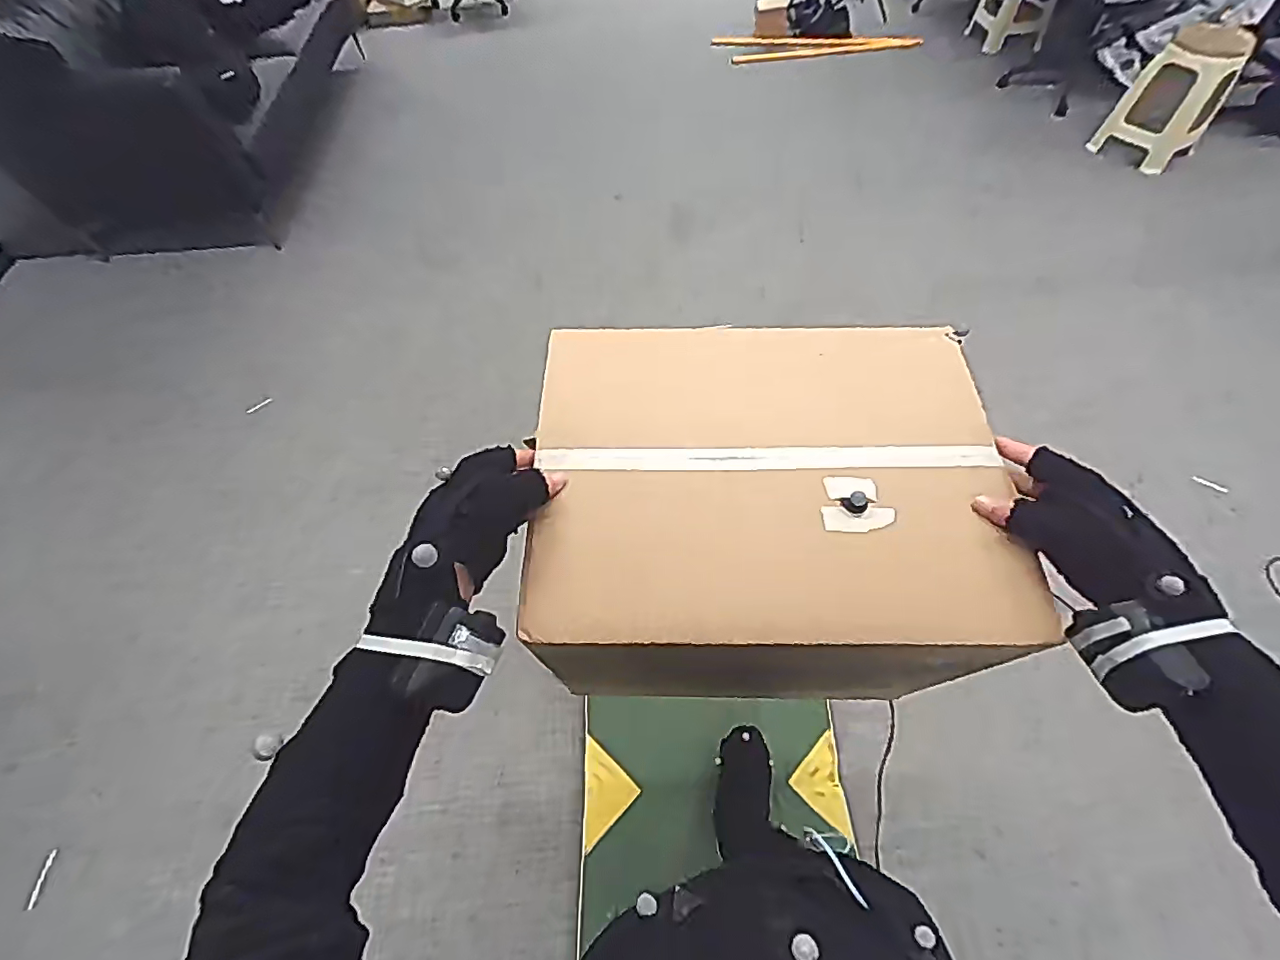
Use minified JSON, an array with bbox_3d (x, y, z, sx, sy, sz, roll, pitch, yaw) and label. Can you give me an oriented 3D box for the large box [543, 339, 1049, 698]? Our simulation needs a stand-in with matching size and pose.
[{"bbox_3d":[0.119,0.061,0.619,0.408,0.320,0.320,0,61,0],"label":"large box"}]
